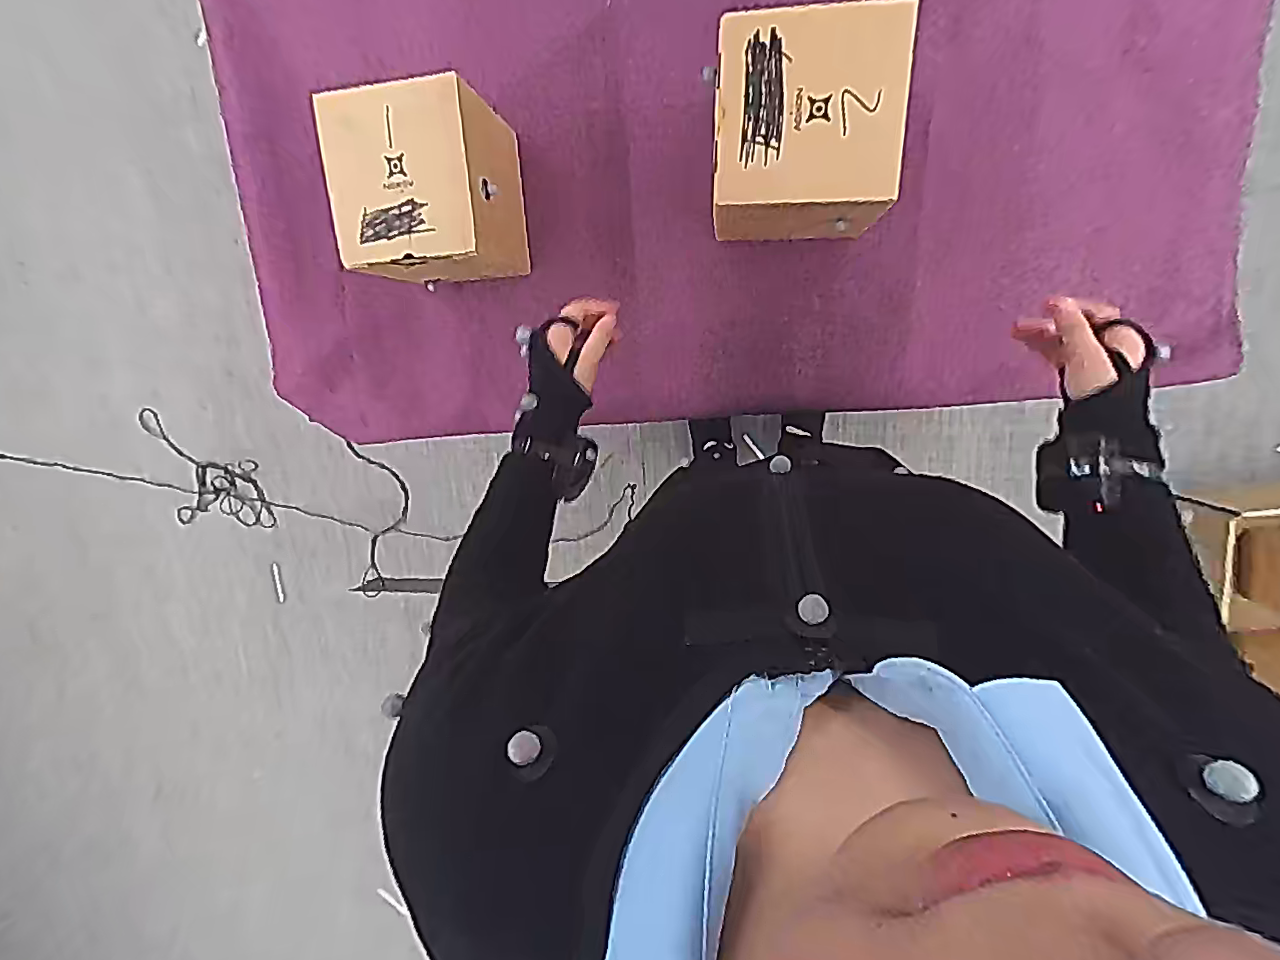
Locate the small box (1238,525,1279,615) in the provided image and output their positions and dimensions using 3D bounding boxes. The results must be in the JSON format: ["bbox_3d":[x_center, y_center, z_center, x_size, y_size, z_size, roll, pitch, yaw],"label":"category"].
[{"bbox_3d":[1.501,0.208,1.203,0.168,0.176,0.179,-8,103,10],"label":"small box"}]

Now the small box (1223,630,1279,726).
[{"bbox_3d":[1.538,0.459,1.258,0.179,0.176,0.168,-6,101,11],"label":"small box"}]

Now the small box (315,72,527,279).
[{"bbox_3d":[-0.246,-0.345,0.653,0.168,0.176,0.179,-2,103,9],"label":"small box"}]
